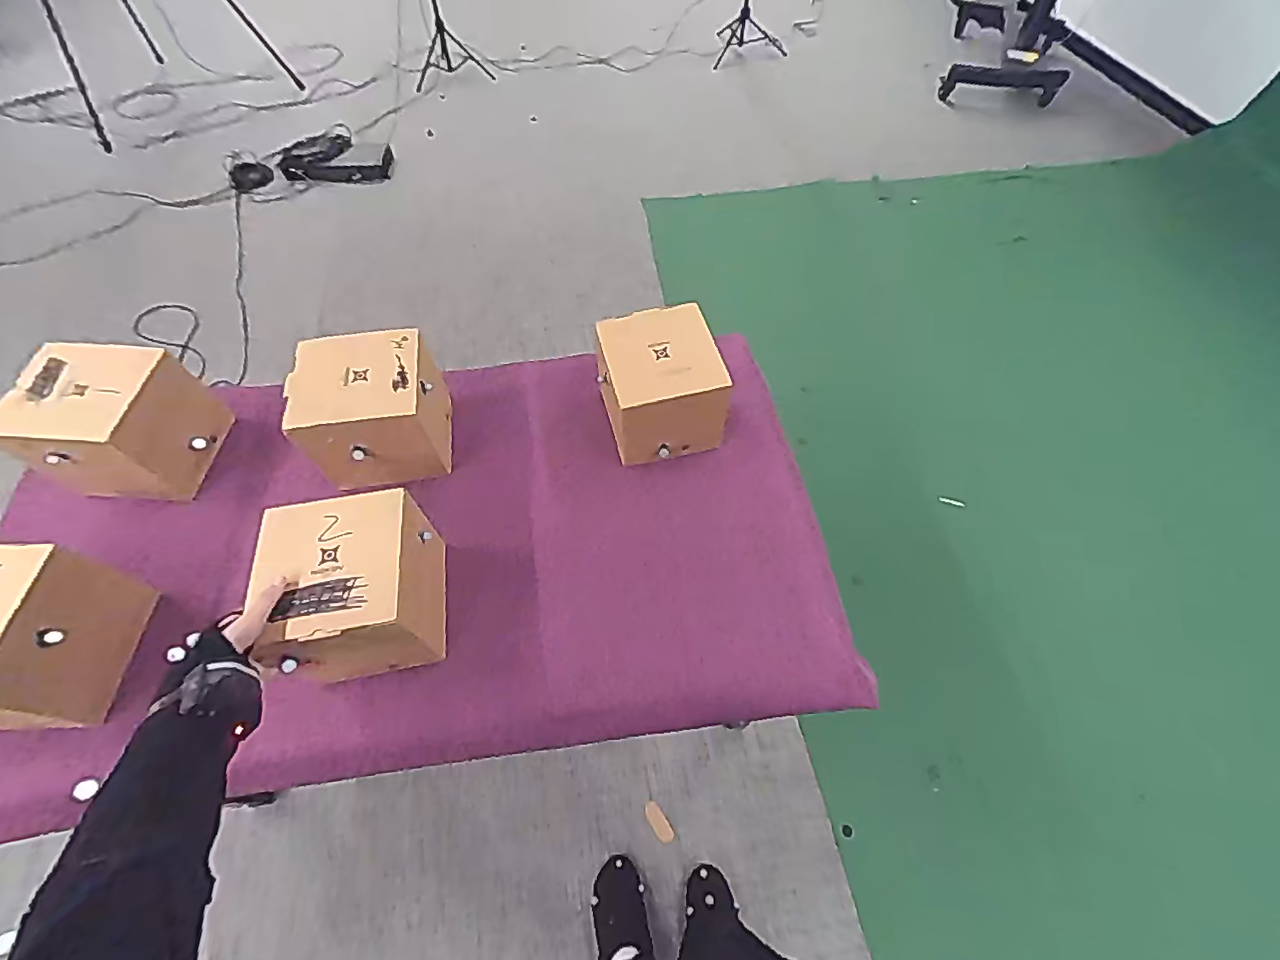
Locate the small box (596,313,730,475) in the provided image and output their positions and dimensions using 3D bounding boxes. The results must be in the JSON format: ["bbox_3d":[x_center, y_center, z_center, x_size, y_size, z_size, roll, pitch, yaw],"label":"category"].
[{"bbox_3d":[0.029,-0.134,0.861,0.168,0.176,0.179,-12,60,-7],"label":"small box"}]

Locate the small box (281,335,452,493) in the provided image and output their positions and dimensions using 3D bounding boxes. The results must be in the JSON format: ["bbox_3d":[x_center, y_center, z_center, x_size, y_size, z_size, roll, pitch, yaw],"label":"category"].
[{"bbox_3d":[-0.401,-0.094,0.825,0.179,0.176,0.168,-8,60,-6],"label":"small box"}]

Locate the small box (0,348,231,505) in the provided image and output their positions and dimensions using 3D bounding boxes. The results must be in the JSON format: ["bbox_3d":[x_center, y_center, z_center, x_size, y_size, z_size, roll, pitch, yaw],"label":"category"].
[{"bbox_3d":[-0.770,-0.074,0.801,0.179,0.176,0.168,4,59,-1],"label":"small box"}]

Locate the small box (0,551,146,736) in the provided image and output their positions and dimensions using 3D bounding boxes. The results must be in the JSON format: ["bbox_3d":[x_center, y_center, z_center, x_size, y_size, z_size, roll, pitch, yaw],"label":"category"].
[{"bbox_3d":[-0.747,0.197,0.632,0.168,0.176,0.179,0,58,-2],"label":"small box"}]
